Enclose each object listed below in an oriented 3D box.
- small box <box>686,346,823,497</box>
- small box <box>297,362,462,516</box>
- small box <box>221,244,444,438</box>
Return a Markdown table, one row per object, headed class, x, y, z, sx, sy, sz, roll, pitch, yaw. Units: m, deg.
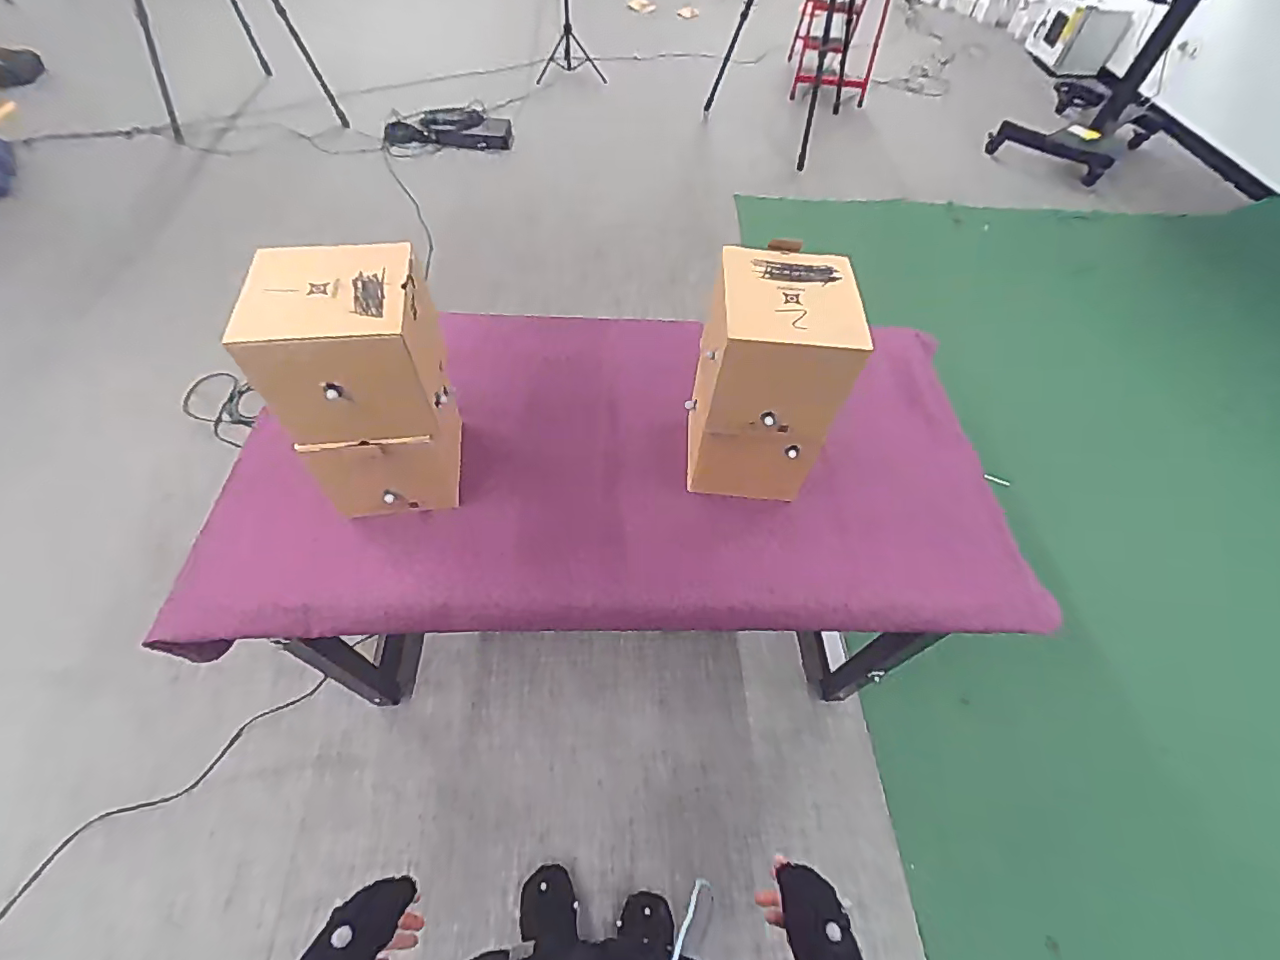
| class | x | y | z | sx | sy | sz | roll | pitch | yaw |
| --- | --- | --- | --- | --- | --- | --- | --- | --- | --- |
| small box | 0.167 | -0.087 | 0.849 | 0.179 | 0.176 | 0.168 | 5 | 56 | 0 |
| small box | -0.367 | -0.068 | 0.800 | 0.168 | 0.176 | 0.179 | -5 | 56 | -7 |
| small box | -0.351 | -0.166 | 0.665 | 0.179 | 0.176 | 0.168 | -3 | 54 | -6 |
